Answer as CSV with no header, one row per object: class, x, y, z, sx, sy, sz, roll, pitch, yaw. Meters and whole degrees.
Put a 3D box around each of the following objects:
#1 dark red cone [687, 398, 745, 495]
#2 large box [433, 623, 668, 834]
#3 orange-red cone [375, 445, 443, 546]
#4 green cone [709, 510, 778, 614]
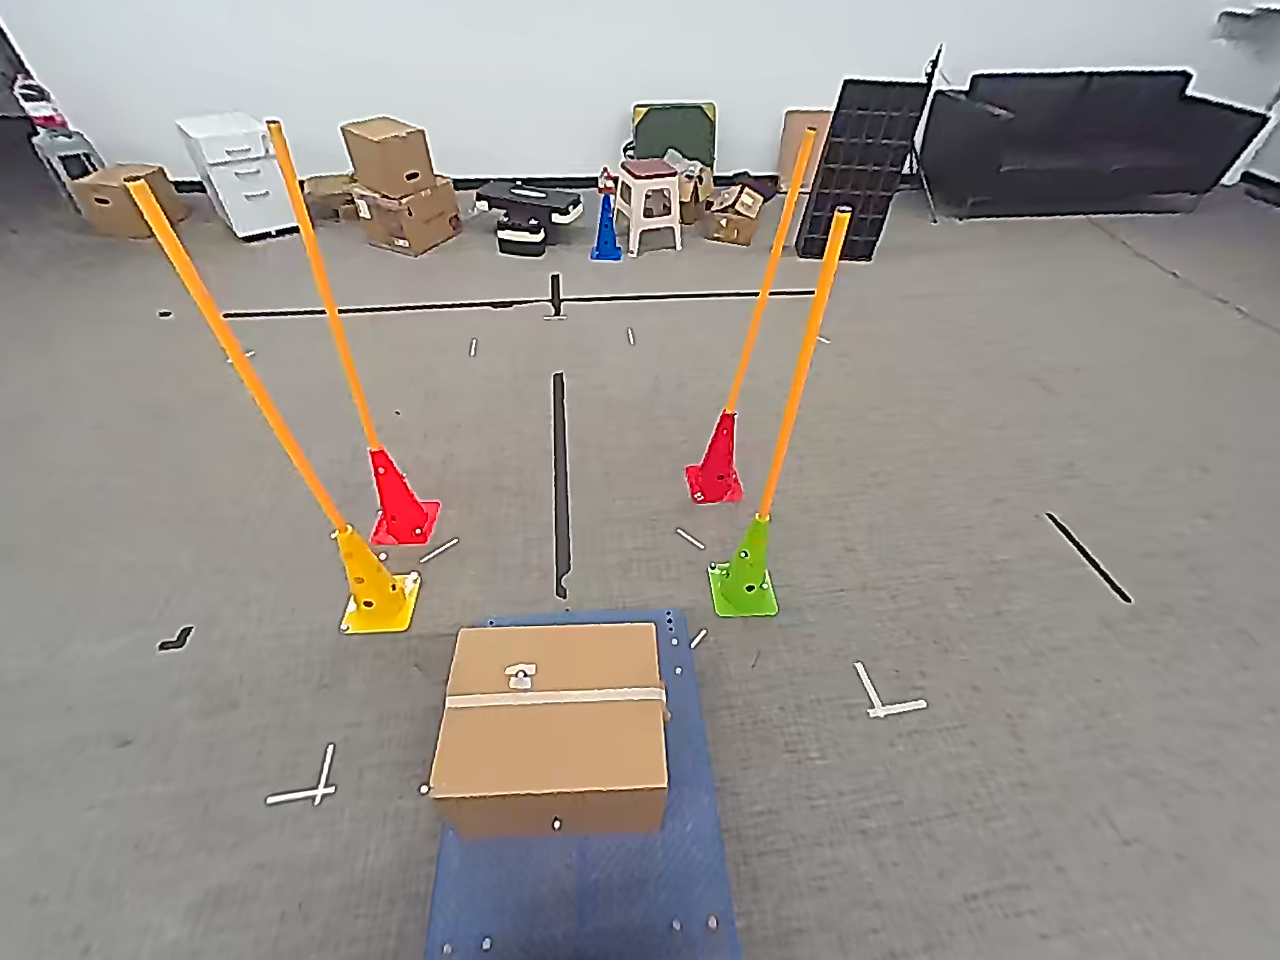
dark red cone,0.302,-0.128,1.970,0.201,0.394,0.202,-3,46,-8
large box,-0.160,0.520,1.126,0.408,0.320,0.320,-1,45,-2
orange-red cone,-0.808,0.027,1.796,0.198,0.360,0.199,2,44,-2
green cone,0.344,0.228,1.642,0.202,0.368,0.200,0,45,-5
